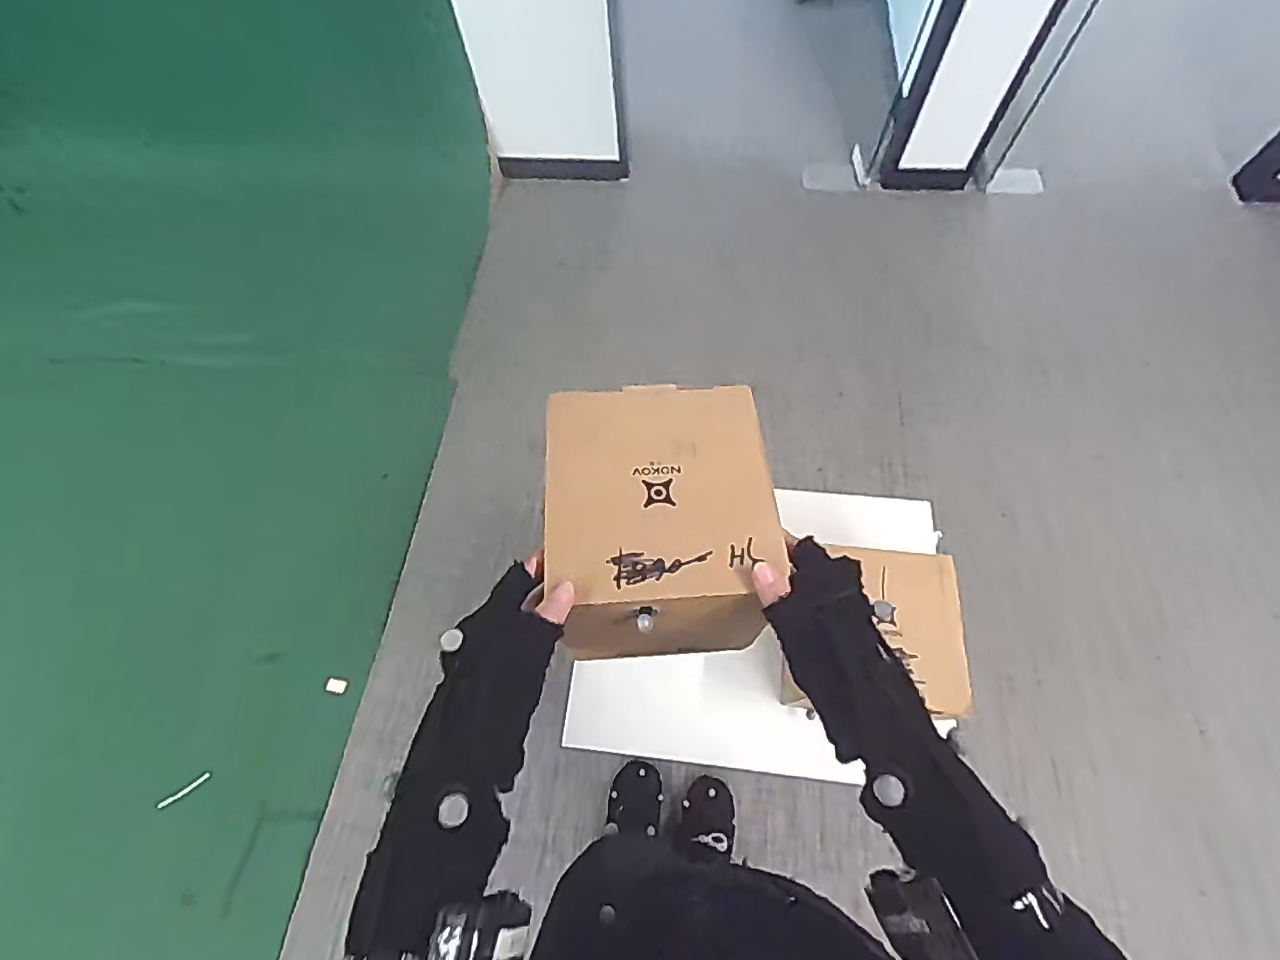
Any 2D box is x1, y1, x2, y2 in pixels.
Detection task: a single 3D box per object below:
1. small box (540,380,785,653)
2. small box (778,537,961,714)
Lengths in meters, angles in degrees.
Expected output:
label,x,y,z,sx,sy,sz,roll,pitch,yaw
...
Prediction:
label,x,y,z,sx,sy,sz,roll,pitch,yaw
small box,0.009,0.036,0.466,0.168,0.176,0.179,-4,60,-2
small box,0.271,0.189,0.677,0.168,0.176,0.179,6,64,6
